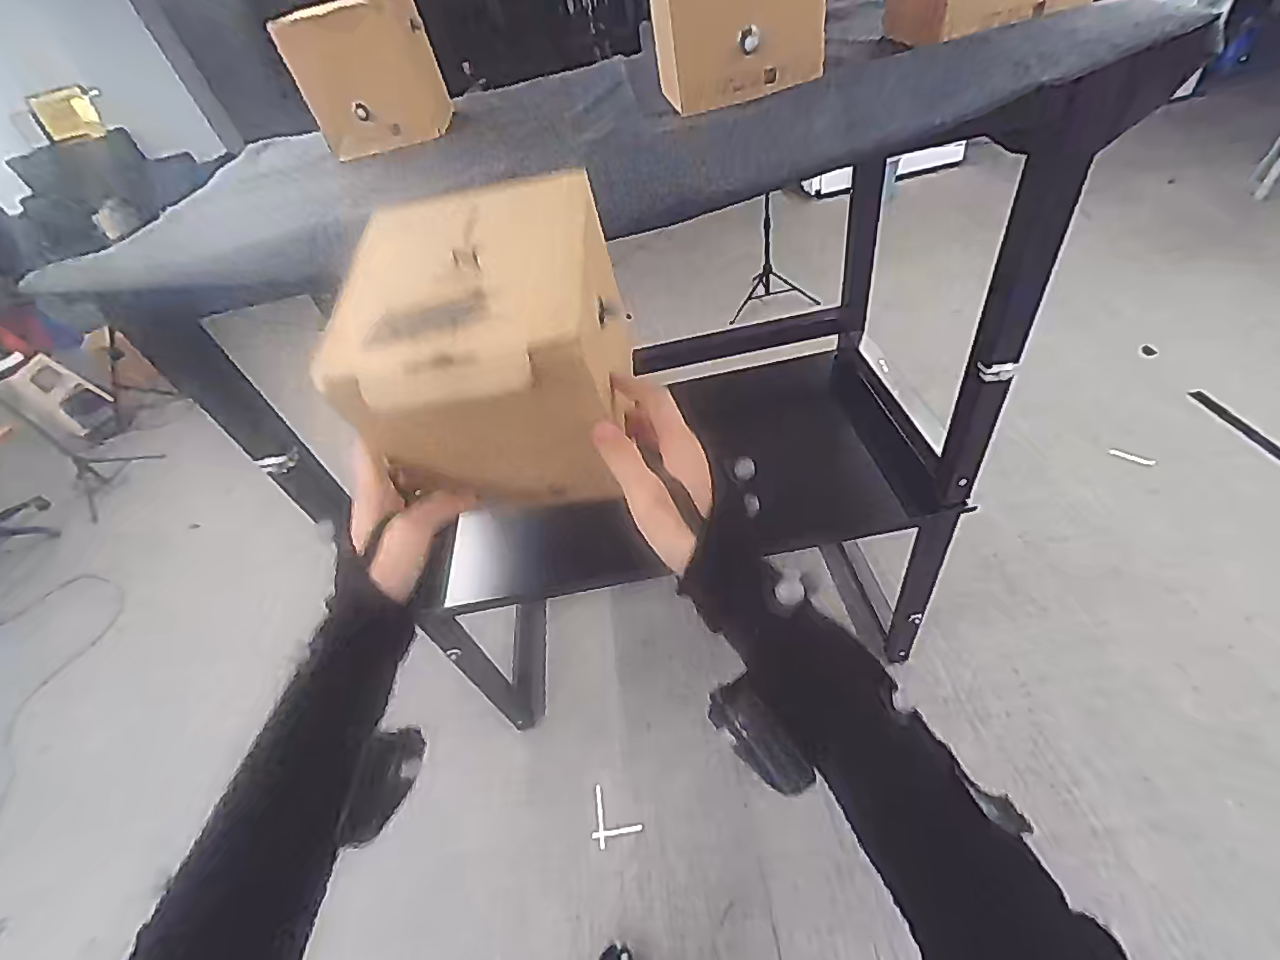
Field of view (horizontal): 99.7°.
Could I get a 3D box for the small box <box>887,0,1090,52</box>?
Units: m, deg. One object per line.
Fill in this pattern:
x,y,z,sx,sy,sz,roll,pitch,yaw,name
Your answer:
0.399,-0.611,0.613,0.168,0.176,0.179,-11,44,5,small box

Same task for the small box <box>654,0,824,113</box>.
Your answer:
0.106,-0.551,0.630,0.168,0.176,0.179,-12,44,4,small box

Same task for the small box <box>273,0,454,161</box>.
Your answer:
-0.397,-0.609,0.817,0.168,0.176,0.179,-13,46,2,small box
